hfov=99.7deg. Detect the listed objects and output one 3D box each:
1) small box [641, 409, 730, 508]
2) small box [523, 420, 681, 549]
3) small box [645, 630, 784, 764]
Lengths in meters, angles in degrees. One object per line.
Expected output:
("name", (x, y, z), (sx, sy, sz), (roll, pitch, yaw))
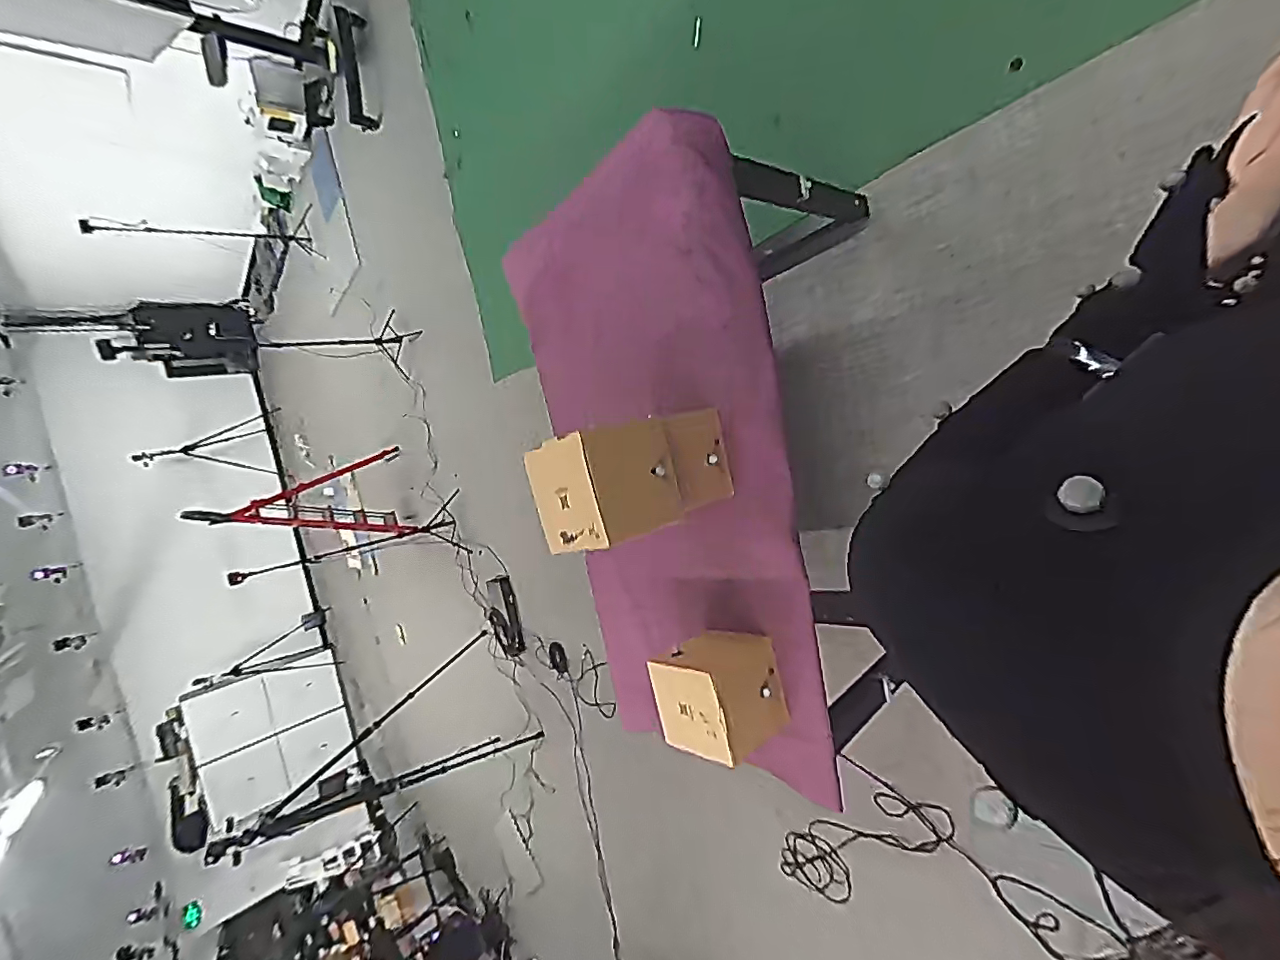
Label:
("small box", (0.040, -0.032, 1.006), (0.179, 0.176, 0.168), (-8, 95, 49))
("small box", (-0.060, 0.004, 0.879), (0.168, 0.176, 0.179), (-13, 91, 49))
("small box", (0.140, 0.392, 1.015), (0.179, 0.176, 0.168), (-12, 92, 50))
